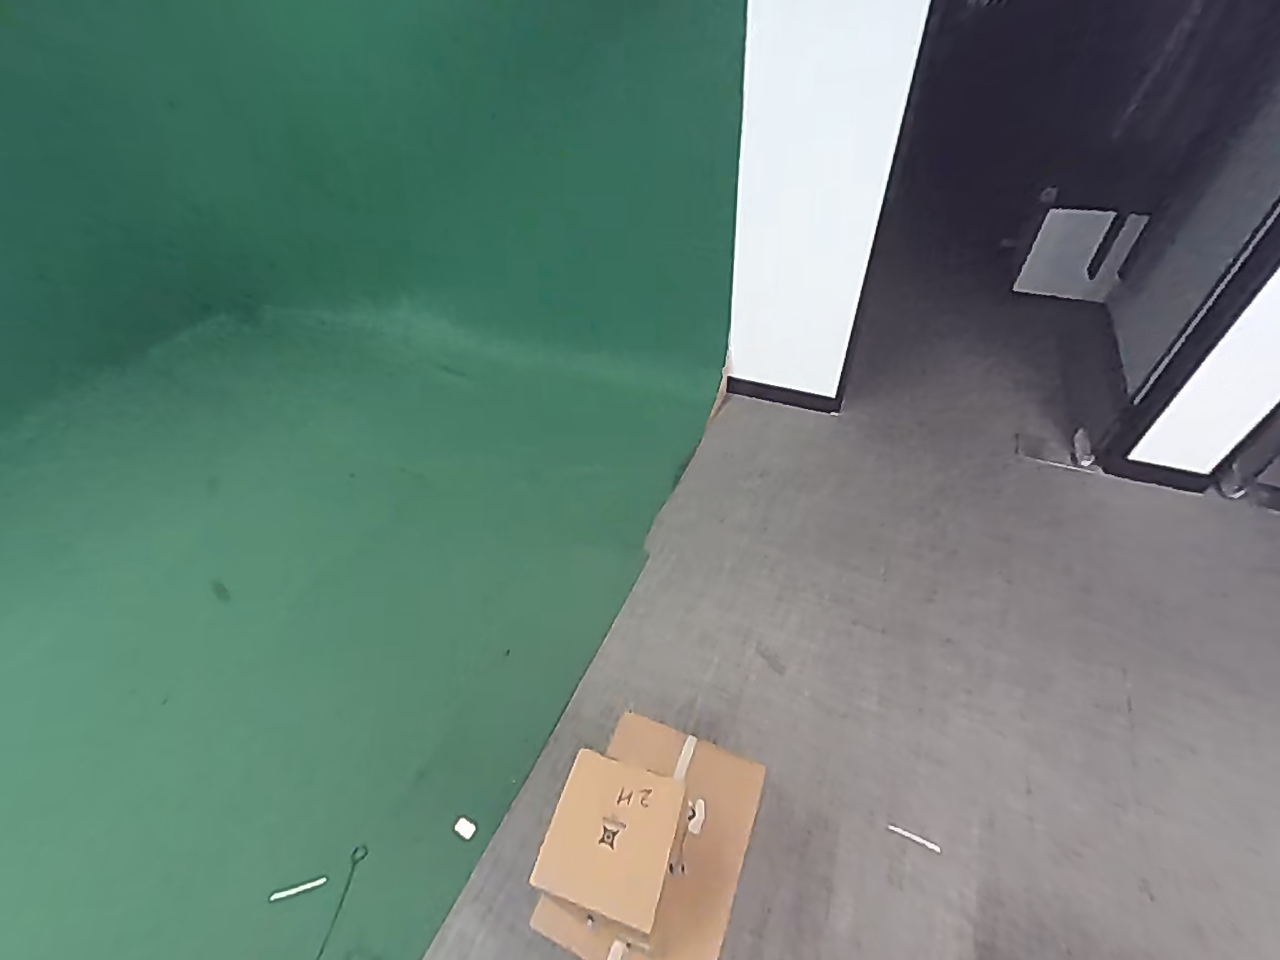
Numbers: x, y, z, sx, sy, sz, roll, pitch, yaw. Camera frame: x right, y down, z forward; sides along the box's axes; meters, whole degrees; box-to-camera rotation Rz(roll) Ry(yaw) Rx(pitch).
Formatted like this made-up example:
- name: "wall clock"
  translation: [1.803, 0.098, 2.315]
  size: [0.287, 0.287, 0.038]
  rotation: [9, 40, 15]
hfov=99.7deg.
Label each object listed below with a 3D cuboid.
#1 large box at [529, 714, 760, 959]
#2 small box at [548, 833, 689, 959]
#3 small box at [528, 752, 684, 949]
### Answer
- name: "large box"
  translation: [0.033, 0.779, 1.099]
  size: [0.320, 0.320, 0.408]
  rotation: [16, 48, 19]
- name: "small box"
  translation: [-0.027, 0.651, 0.888]
  size: [0.179, 0.176, 0.168]
  rotation: [14, 47, 19]
- name: "small box"
  translation: [-0.035, 0.532, 0.775]
  size: [0.168, 0.176, 0.179]
  rotation: [12, 47, 16]
